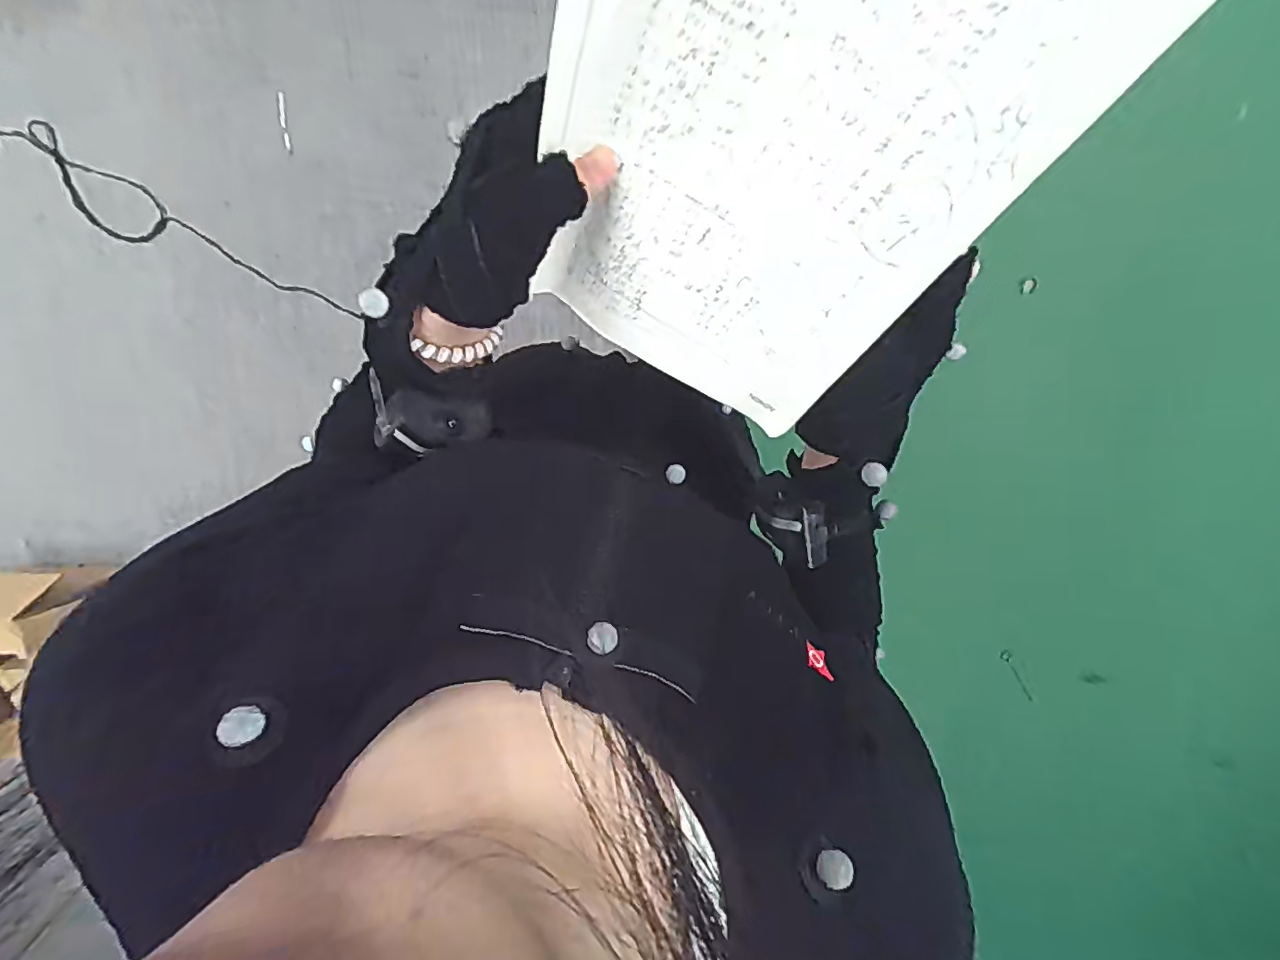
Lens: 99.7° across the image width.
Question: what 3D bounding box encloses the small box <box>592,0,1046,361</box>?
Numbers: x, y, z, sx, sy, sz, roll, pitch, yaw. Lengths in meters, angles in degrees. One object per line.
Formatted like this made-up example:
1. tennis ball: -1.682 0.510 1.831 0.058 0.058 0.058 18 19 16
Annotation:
1. small box: 0.086 -0.209 0.340 0.168 0.176 0.179 21 125 -2
